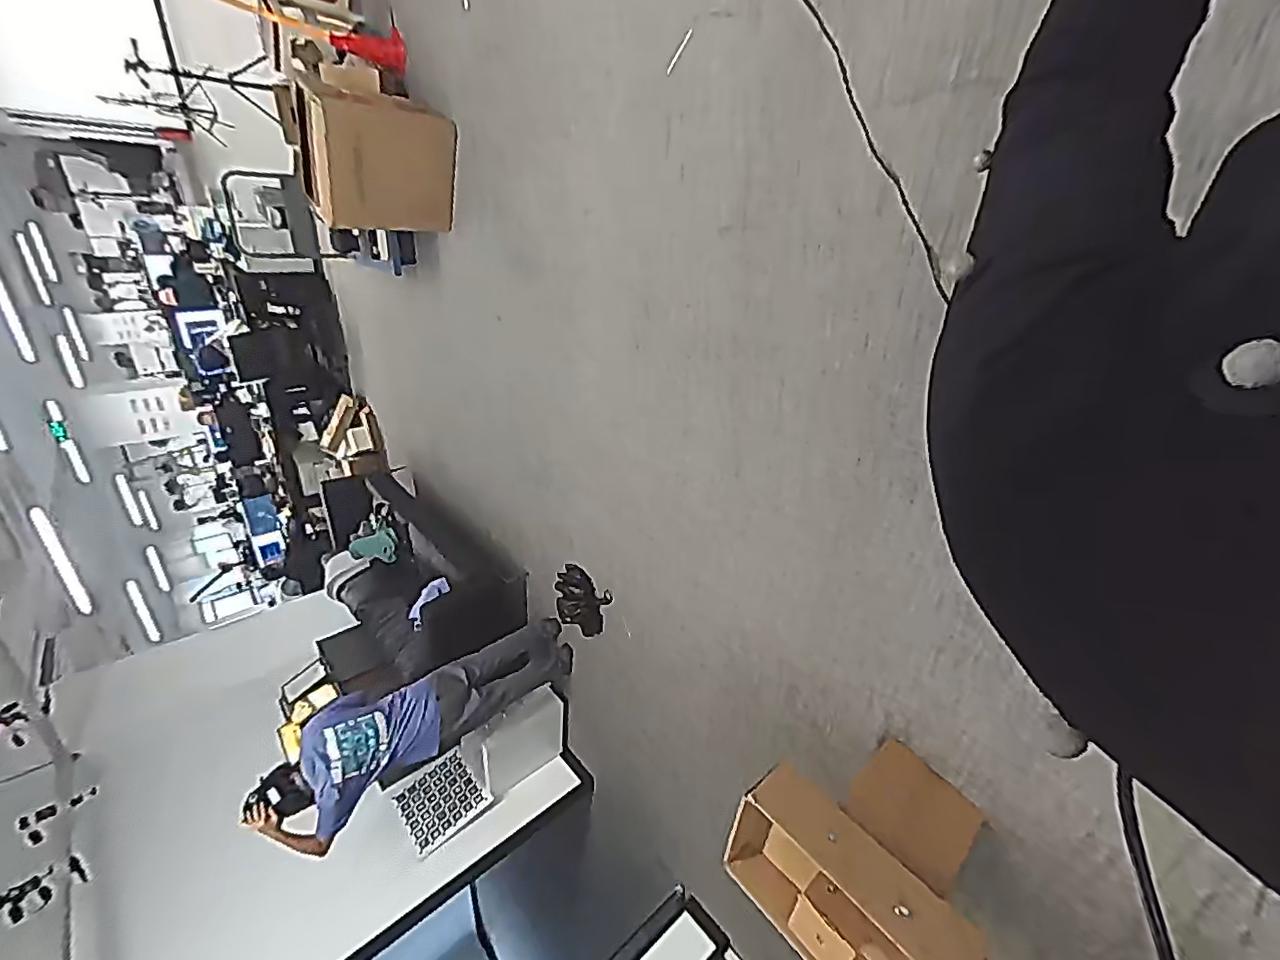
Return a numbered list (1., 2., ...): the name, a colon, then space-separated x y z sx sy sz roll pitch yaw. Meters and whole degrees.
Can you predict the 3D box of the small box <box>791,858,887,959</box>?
1. small box: 0.537 1.176 1.458 0.168 0.176 0.179 32 130 41
